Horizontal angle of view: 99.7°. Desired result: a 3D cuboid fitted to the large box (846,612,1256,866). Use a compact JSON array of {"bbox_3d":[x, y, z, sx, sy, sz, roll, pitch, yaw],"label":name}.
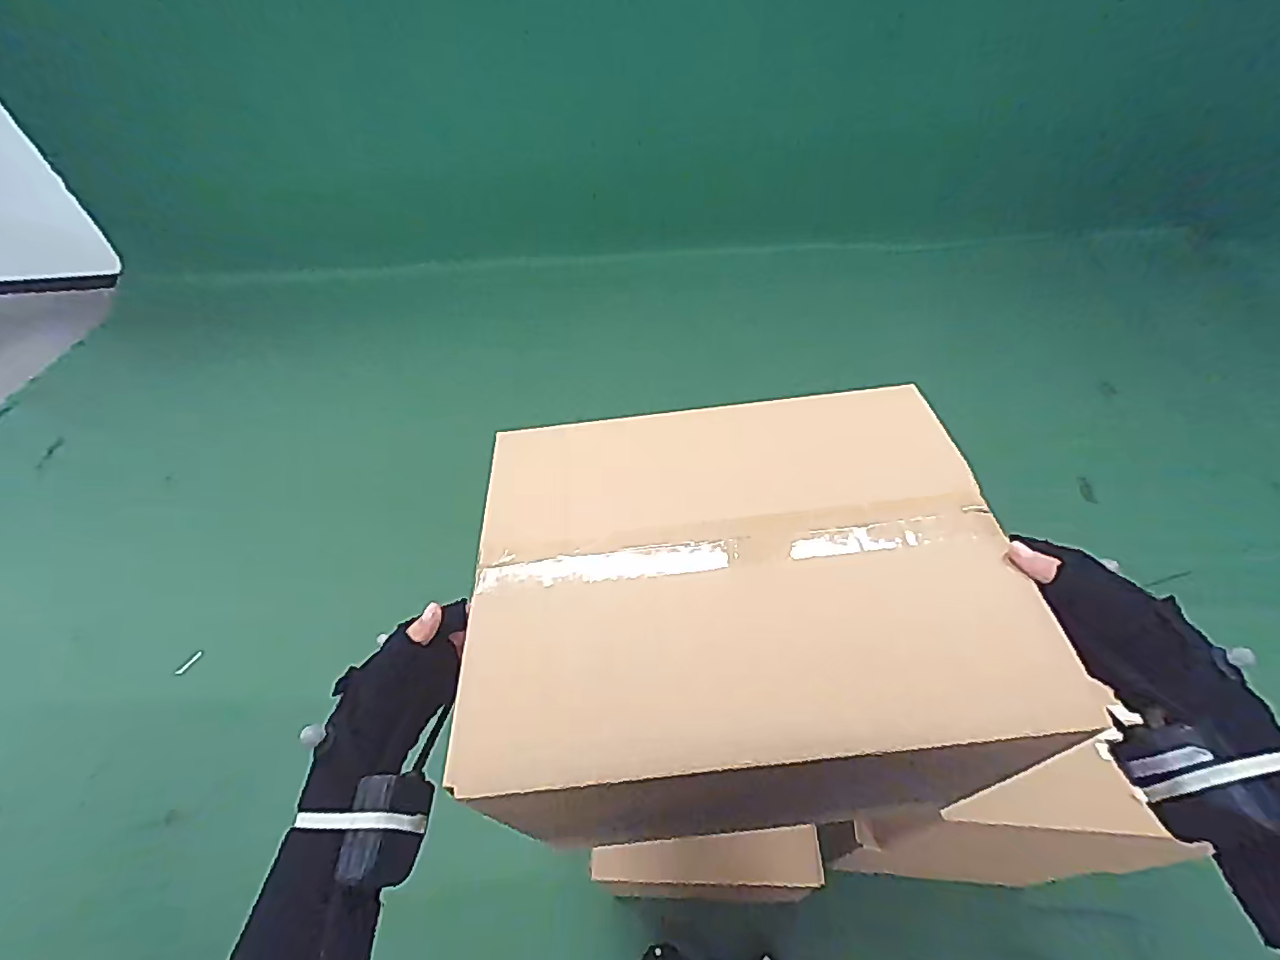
[{"bbox_3d":[0.614,0.441,0.918,0.408,0.320,0.320,1,50,5],"label":"large box"}]
